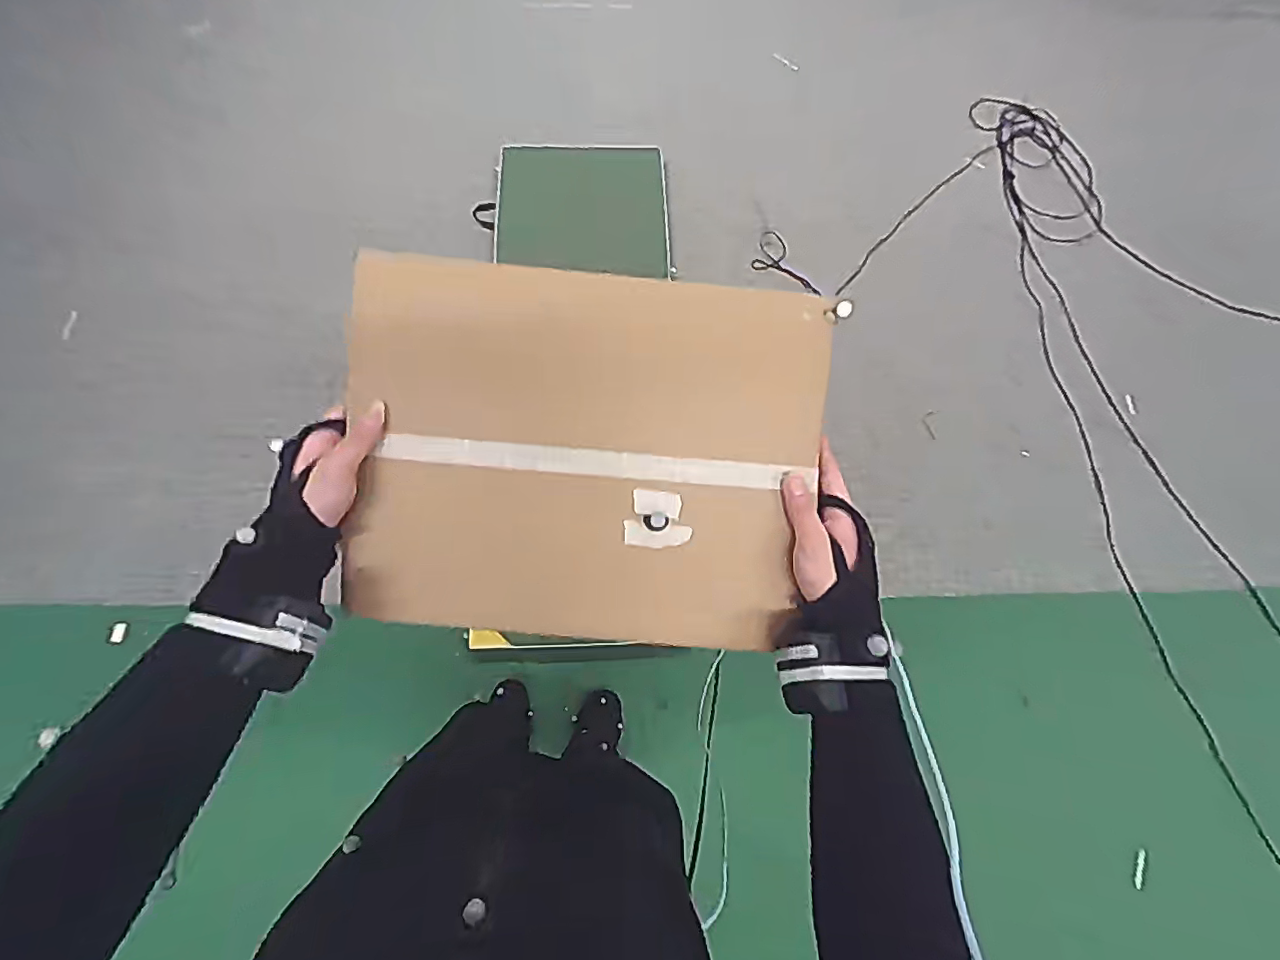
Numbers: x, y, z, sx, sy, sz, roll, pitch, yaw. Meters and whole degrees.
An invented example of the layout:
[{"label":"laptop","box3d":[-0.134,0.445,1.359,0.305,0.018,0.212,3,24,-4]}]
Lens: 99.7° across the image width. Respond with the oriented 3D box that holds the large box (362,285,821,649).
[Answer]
[{"label":"large box","box3d":[-0.050,-0.013,0.634,0.408,0.320,0.320,4,93,-2]}]
